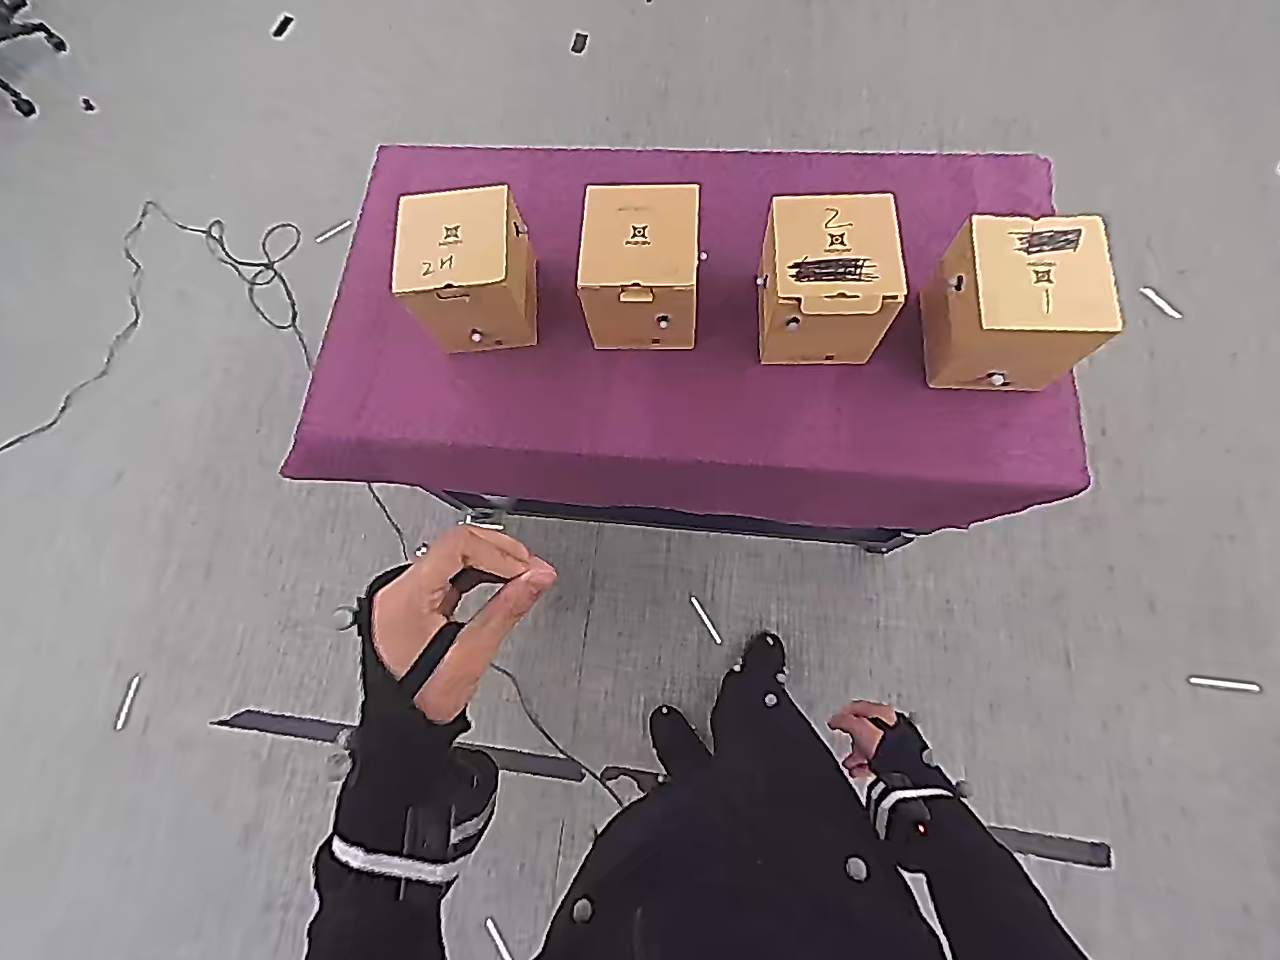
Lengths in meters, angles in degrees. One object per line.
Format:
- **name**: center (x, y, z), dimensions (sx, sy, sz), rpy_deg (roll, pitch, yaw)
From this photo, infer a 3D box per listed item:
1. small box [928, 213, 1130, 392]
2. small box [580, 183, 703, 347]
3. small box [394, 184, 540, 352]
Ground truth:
- **small box**: center (0.525, -0.243, 0.761), dimensions (0.168, 0.176, 0.179), rpy_deg (3, 74, 6)
- **small box**: center (0.010, -0.319, 0.828), dimensions (0.168, 0.176, 0.179), rpy_deg (2, 73, 5)
- **small box**: center (-0.259, -0.324, 0.850), dimensions (0.168, 0.176, 0.179), rpy_deg (-5, 73, 4)
